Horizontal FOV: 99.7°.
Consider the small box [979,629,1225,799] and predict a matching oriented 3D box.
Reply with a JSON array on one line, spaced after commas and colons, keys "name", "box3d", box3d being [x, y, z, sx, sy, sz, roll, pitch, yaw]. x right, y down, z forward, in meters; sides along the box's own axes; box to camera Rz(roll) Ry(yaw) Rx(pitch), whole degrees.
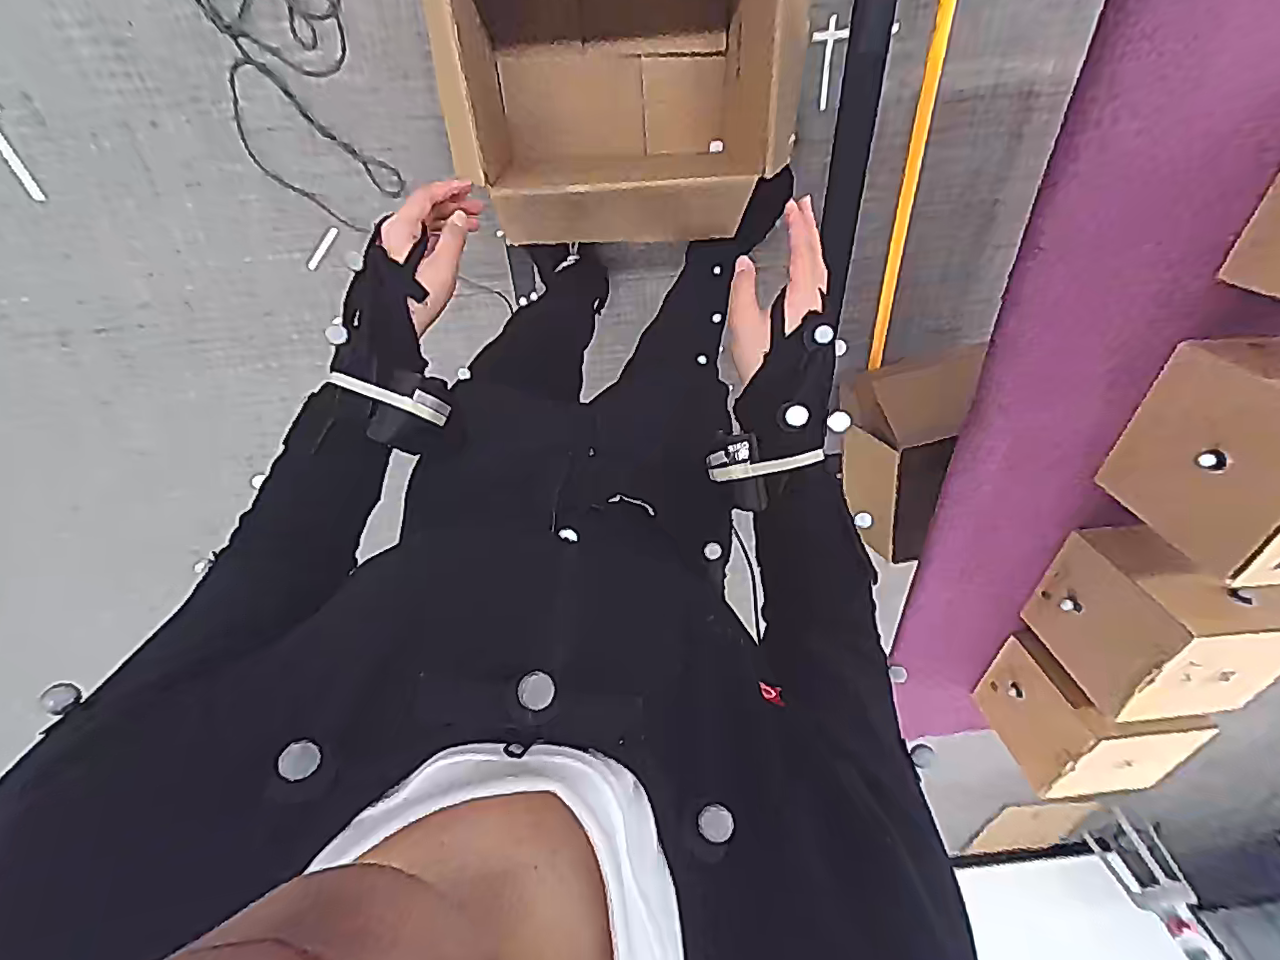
[{"name": "small box", "box3d": [0.652, 0.336, 0.791, 0.179, 0.176, 0.168, -3, 127, -4]}]
